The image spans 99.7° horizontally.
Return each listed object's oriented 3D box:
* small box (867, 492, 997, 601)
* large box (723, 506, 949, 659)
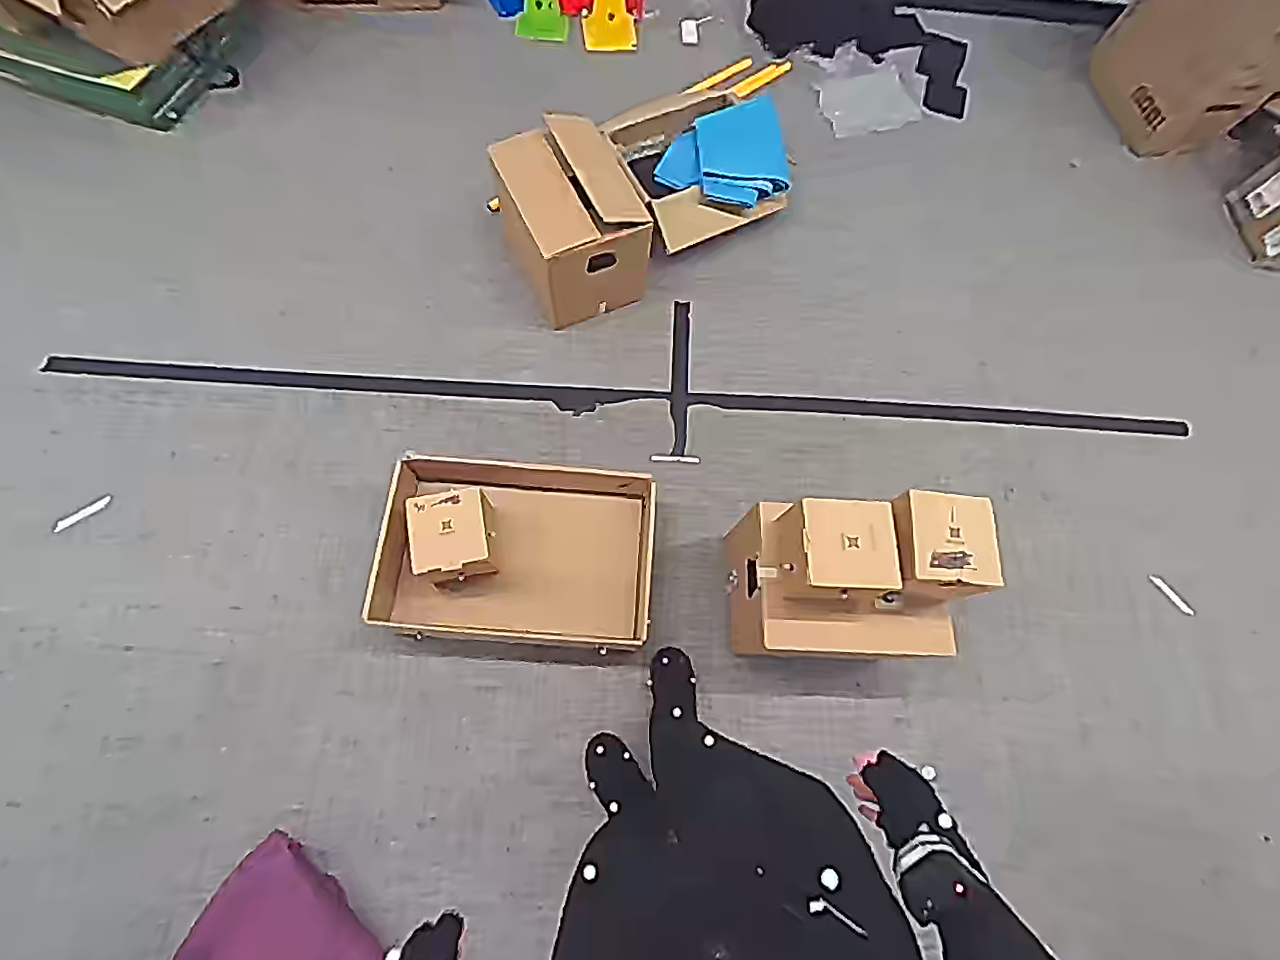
[{"bbox_3d":[0.575,0.141,1.089,0.168,0.176,0.179,7,68,-2],"label":"small box"},{"bbox_3d":[0.433,0.260,1.294,0.408,0.320,0.320,3,71,-5],"label":"large box"}]
